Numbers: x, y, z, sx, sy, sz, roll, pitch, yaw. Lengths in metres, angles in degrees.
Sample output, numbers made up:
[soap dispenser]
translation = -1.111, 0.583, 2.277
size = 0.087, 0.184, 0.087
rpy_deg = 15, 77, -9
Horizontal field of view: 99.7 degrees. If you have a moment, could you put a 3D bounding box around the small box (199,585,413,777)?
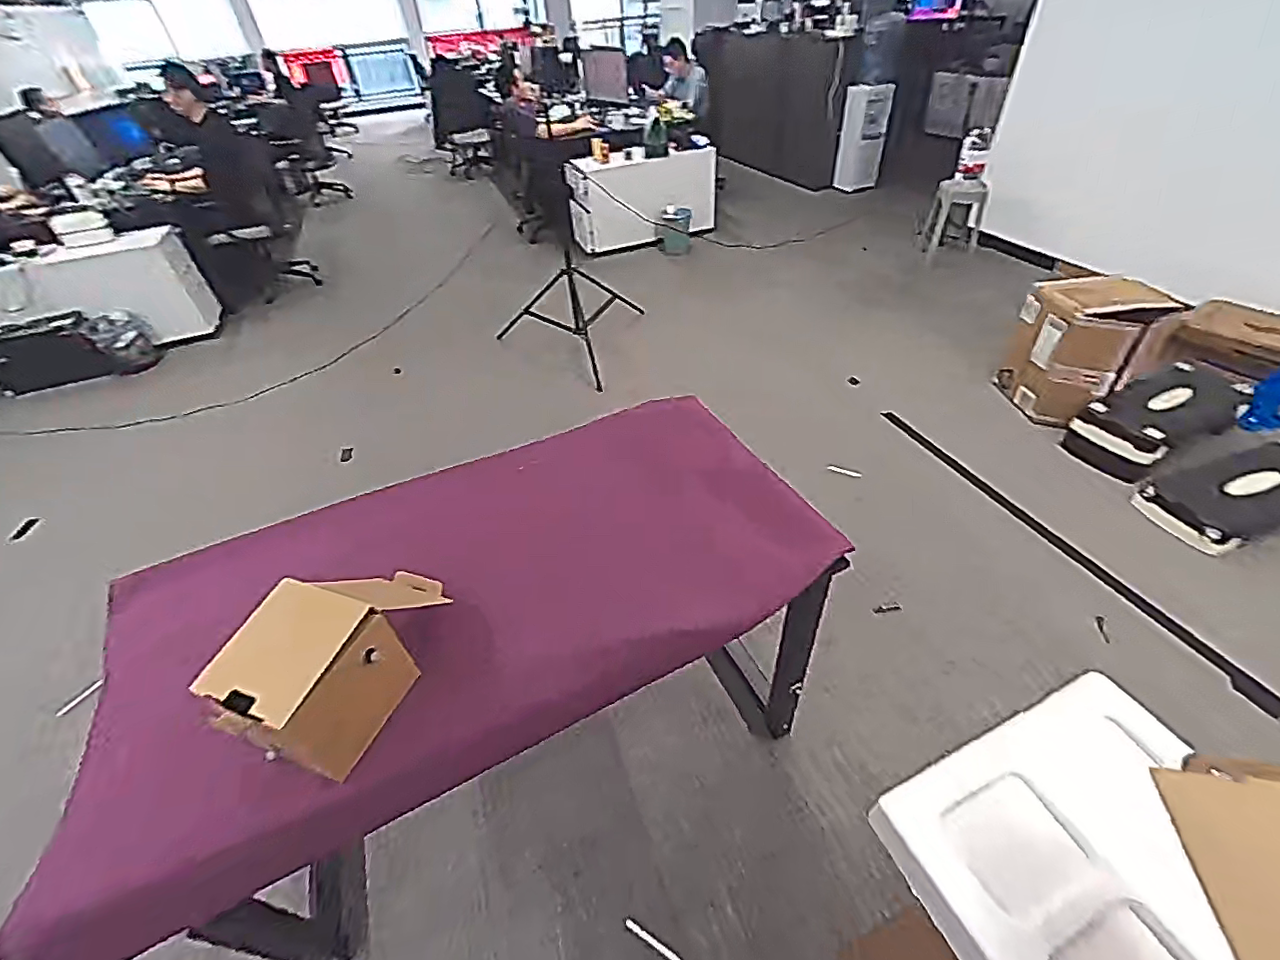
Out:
[small box]
translation = -0.455, 0.285, 0.776
size = 0.168, 0.176, 0.179
rpy_deg = 10, 44, 19
